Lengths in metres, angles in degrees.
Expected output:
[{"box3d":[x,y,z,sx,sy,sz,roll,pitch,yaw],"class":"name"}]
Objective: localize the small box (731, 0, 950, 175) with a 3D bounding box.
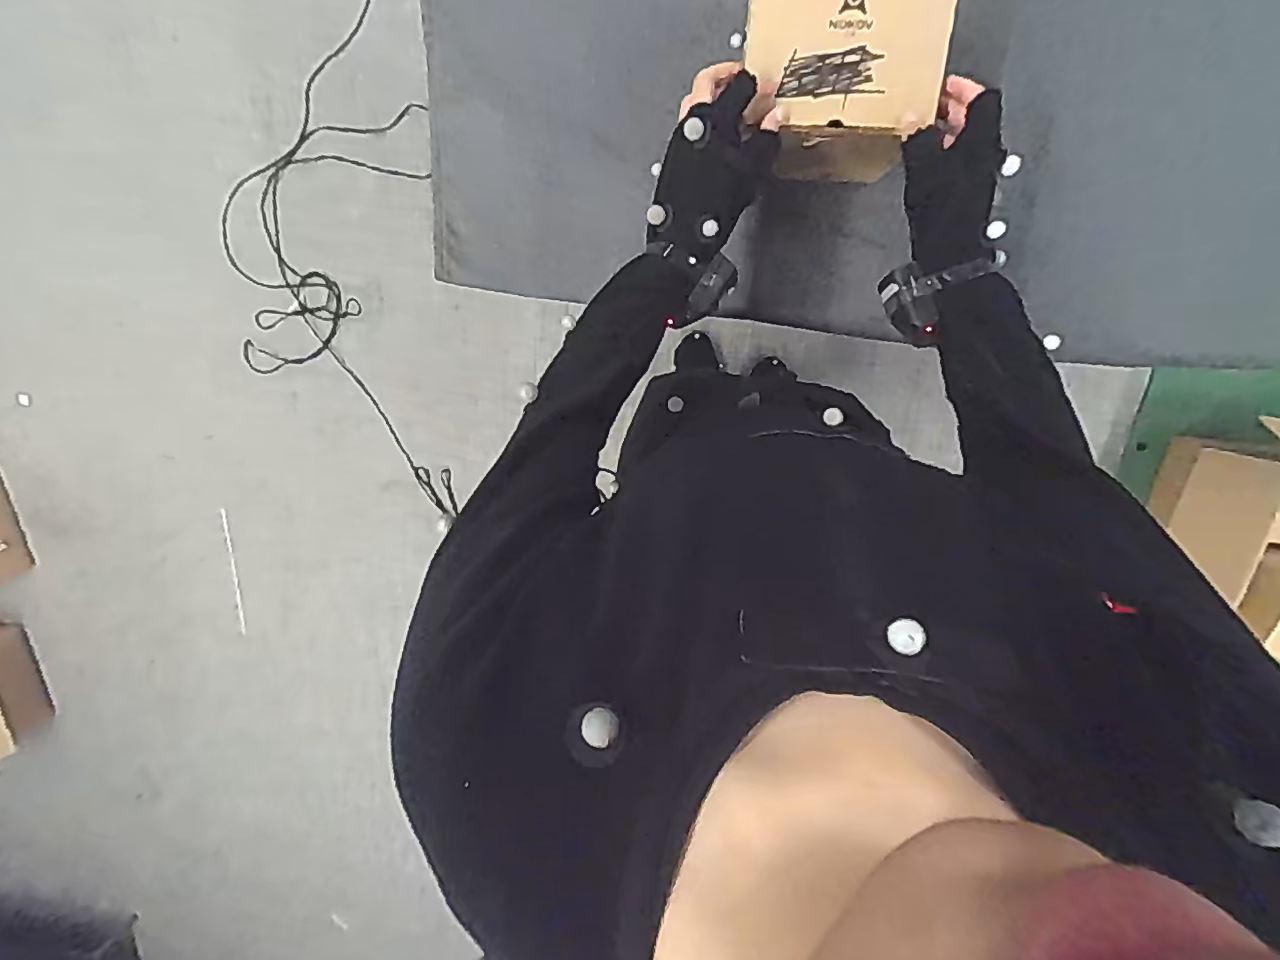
[{"box3d":[0.180,-0.412,0.523,0.168,0.176,0.179,5,106,6],"class":"small box"}]
